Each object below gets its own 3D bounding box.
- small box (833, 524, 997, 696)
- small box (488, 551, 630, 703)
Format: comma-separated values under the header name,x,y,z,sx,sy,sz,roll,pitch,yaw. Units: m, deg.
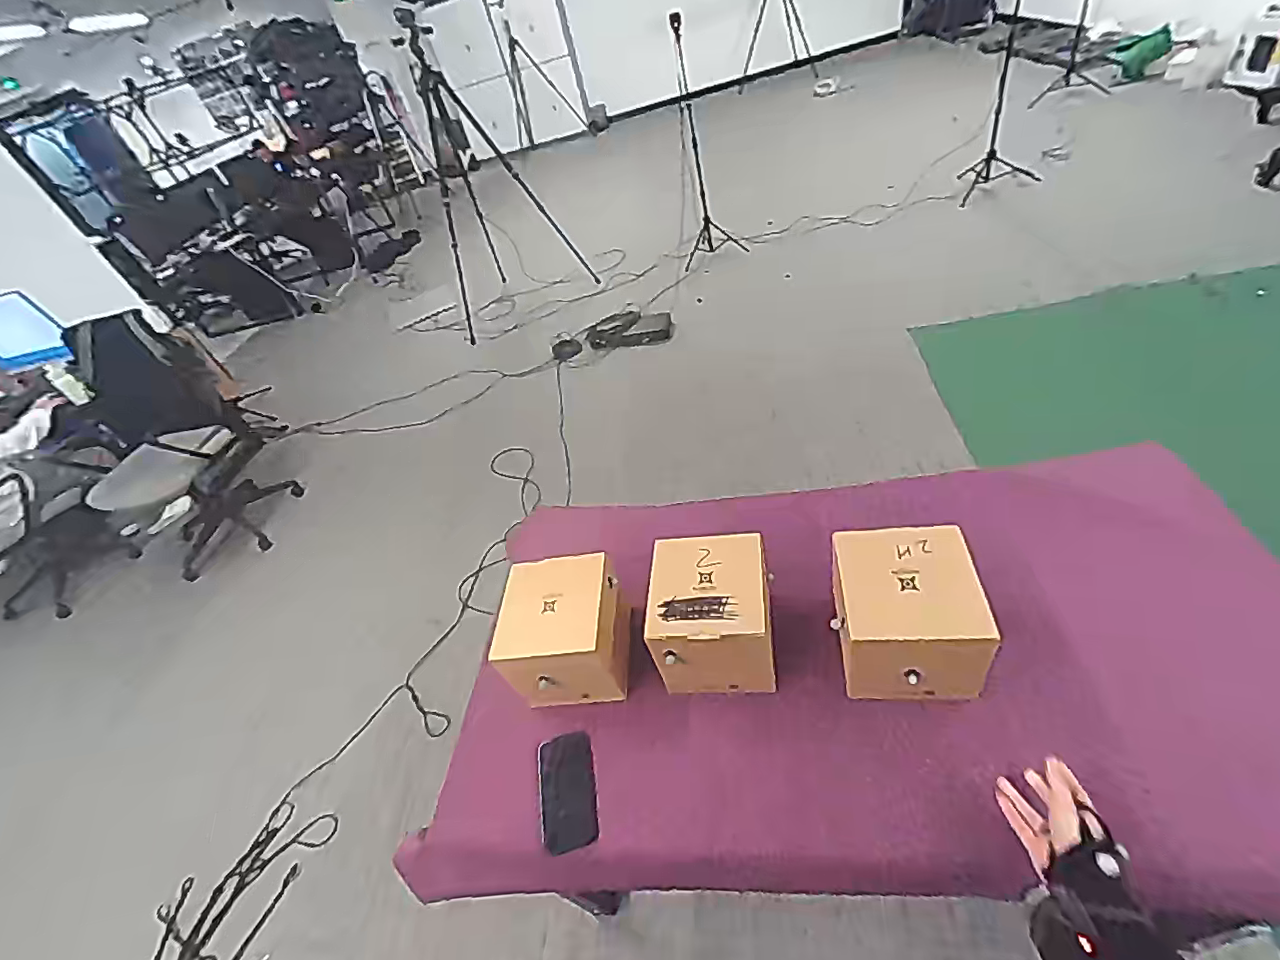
name,x,y,z,sx,sy,sz,roll,pitch,yaw
small box,0.365,0.183,0.751,0.168,0.176,0.179,-4,43,15
small box,-0.118,0.242,0.869,0.168,0.176,0.179,-9,42,11
